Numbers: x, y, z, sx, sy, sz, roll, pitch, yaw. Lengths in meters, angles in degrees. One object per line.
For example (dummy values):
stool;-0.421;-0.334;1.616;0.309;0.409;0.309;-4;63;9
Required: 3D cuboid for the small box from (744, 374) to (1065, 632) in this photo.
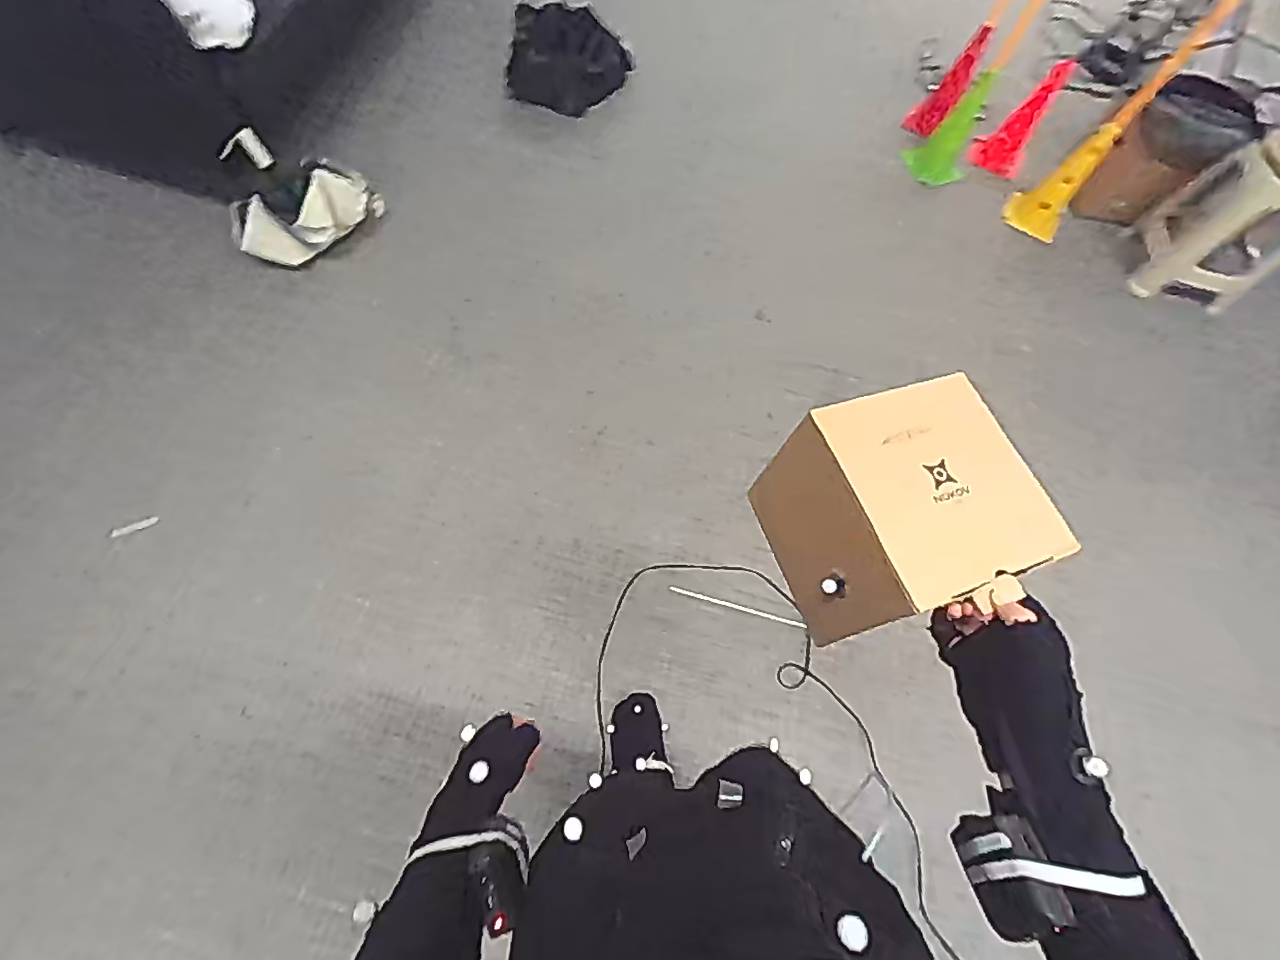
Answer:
small box;0.223;0.032;0.507;0.168;0.176;0.179;-15;69;-16
